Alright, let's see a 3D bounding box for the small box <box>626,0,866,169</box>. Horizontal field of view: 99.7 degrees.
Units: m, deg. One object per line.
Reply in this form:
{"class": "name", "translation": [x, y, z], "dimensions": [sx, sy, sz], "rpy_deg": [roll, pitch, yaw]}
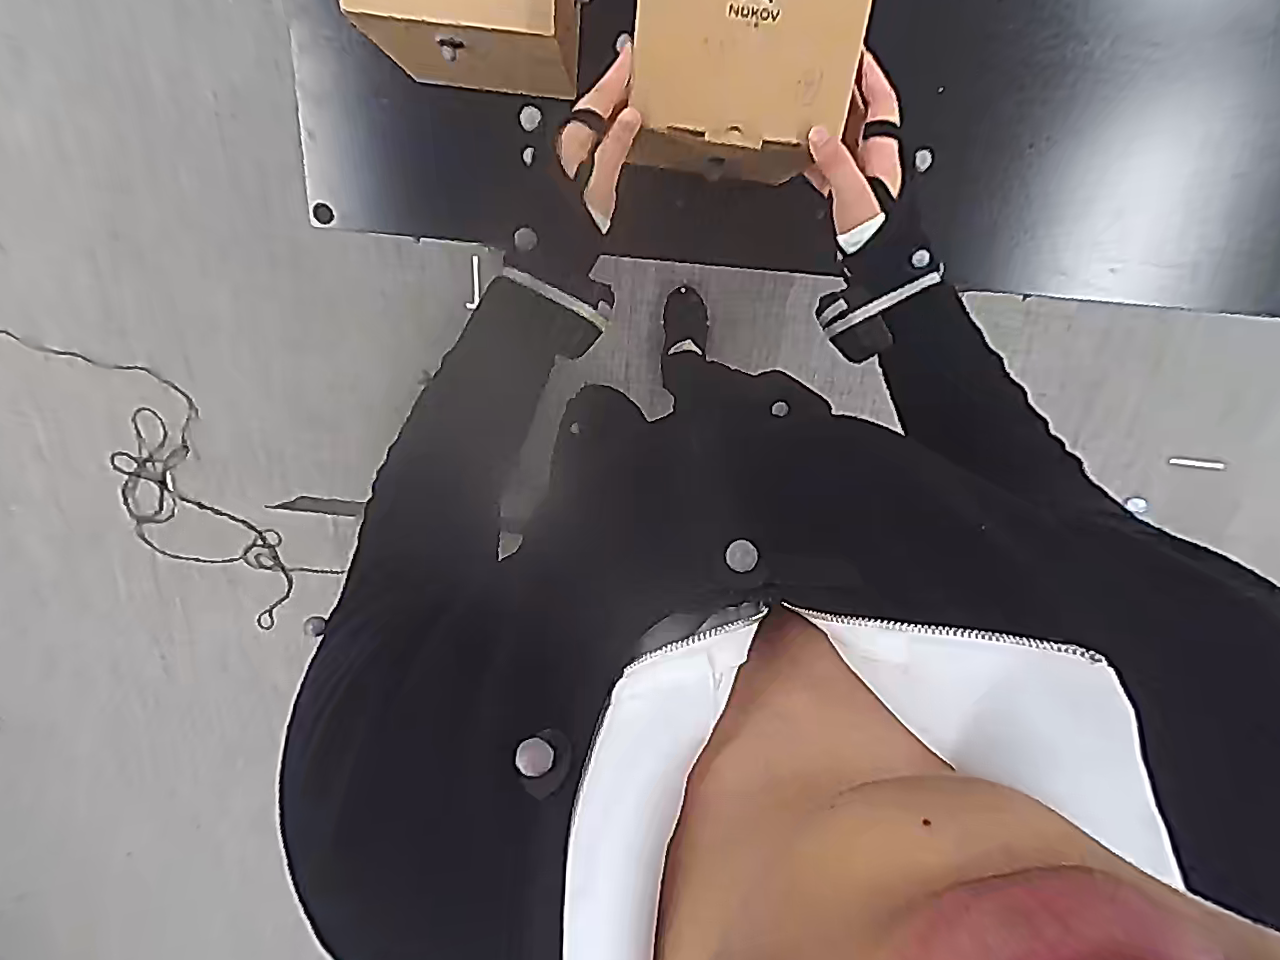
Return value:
{"class": "small box", "translation": [0.080, -0.377, 0.458], "dimensions": [0.168, 0.176, 0.179], "rpy_deg": [6, 114, -3]}

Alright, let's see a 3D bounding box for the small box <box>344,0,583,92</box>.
{"class": "small box", "translation": [-0.147, -0.479, 0.490], "dimensions": [0.179, 0.176, 0.168], "rpy_deg": [5, 111, -3]}
